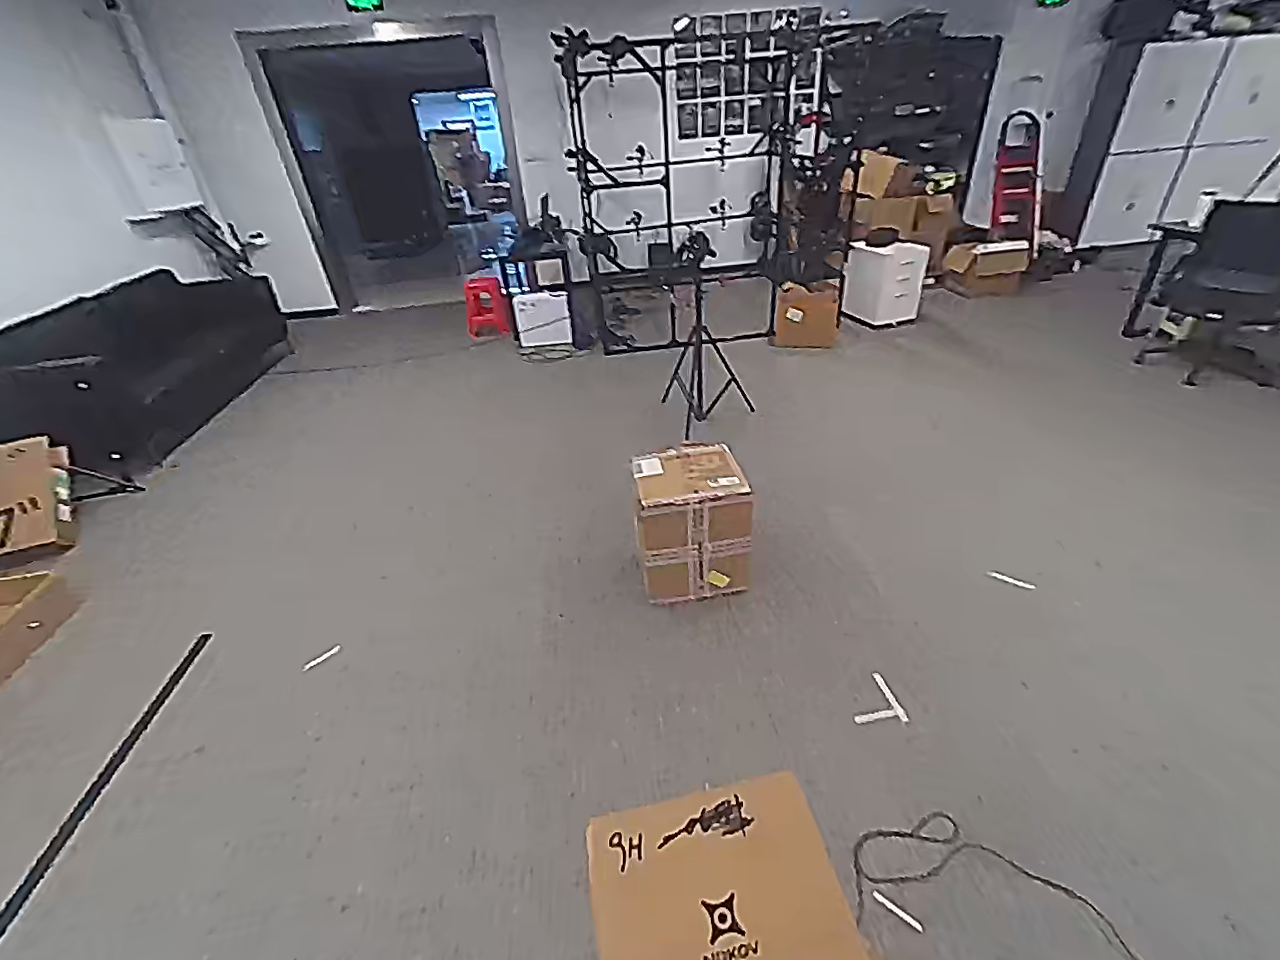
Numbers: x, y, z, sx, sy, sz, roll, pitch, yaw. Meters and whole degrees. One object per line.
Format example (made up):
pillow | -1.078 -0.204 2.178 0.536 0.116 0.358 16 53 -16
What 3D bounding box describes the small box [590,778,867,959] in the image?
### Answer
small box | 0.064 0.357 0.394 0.168 0.176 0.179 -10 39 -5
